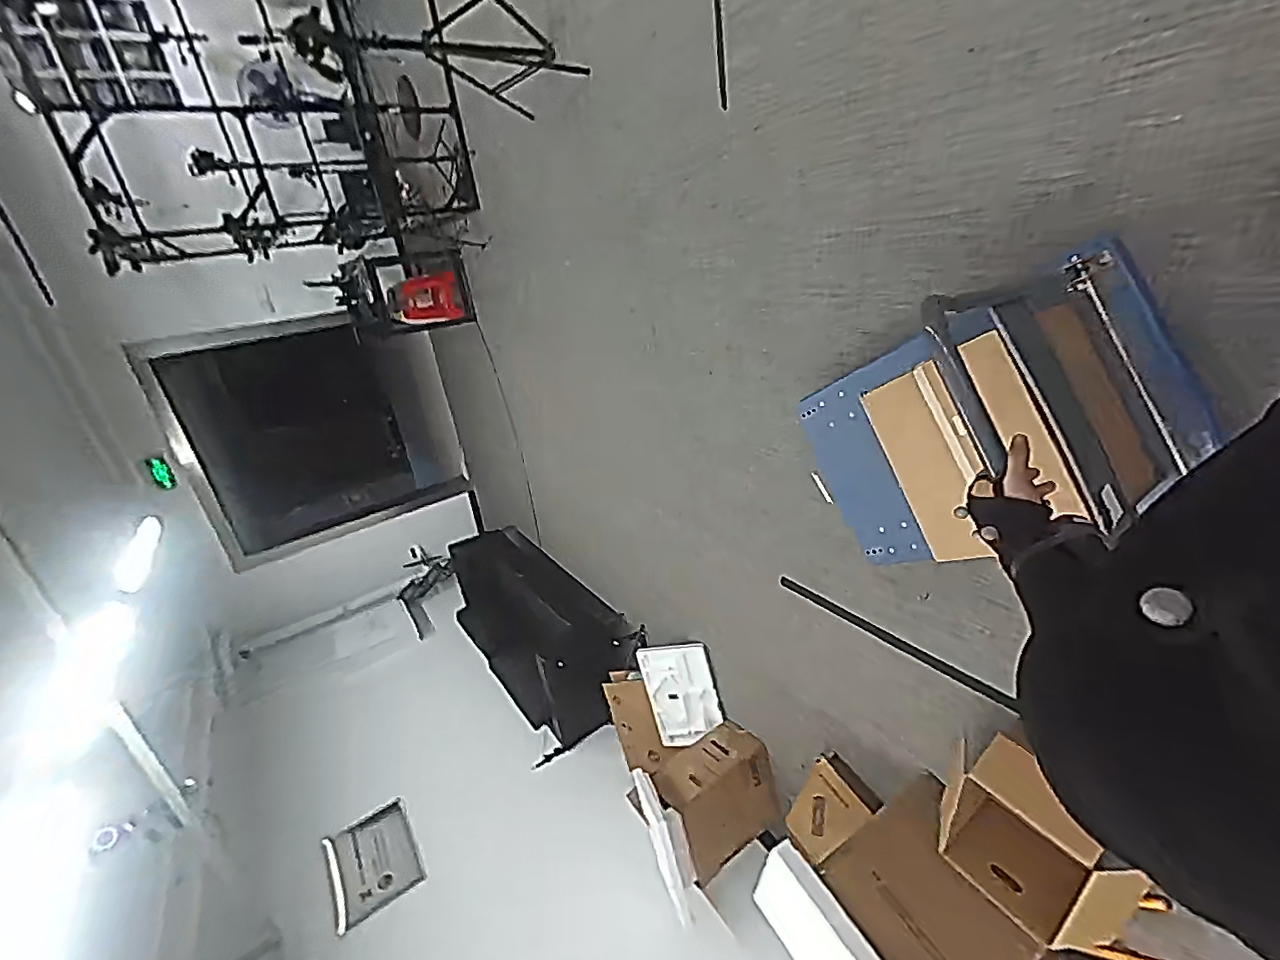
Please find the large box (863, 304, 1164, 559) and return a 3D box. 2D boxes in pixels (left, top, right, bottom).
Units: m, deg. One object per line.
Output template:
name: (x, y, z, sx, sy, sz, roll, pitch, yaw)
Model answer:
large box: (0.761, -0.092, 1.127, 0.320, 0.320, 0.408, -31, 81, 61)
